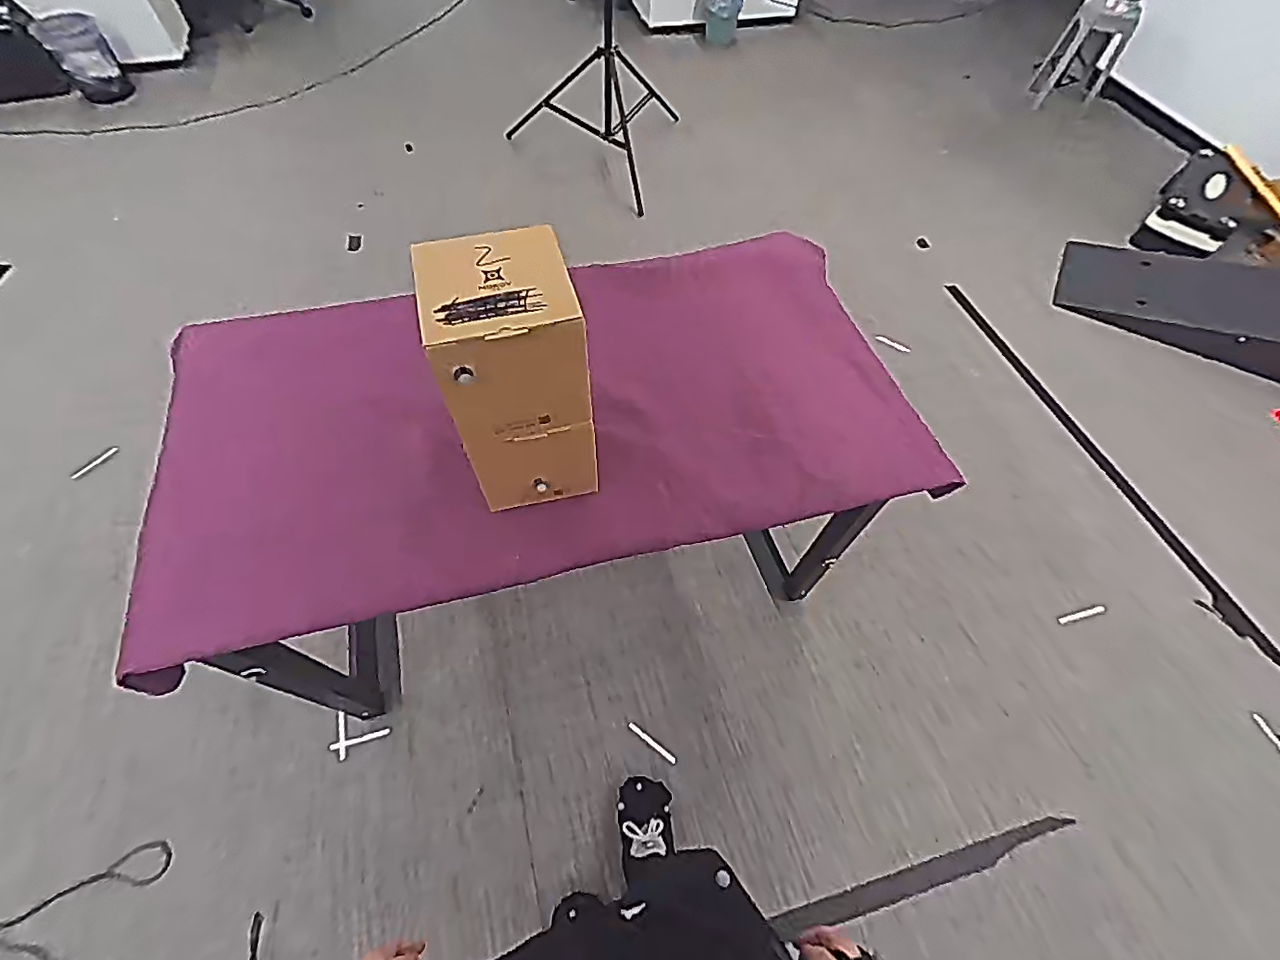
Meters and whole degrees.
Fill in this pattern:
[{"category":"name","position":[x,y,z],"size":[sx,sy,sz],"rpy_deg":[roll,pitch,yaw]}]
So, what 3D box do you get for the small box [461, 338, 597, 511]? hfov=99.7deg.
[{"category":"small box","position":[-0.160,-0.079,0.800],"size":[0.168,0.176,0.179],"rpy_deg":[-11,59,-9]}]
